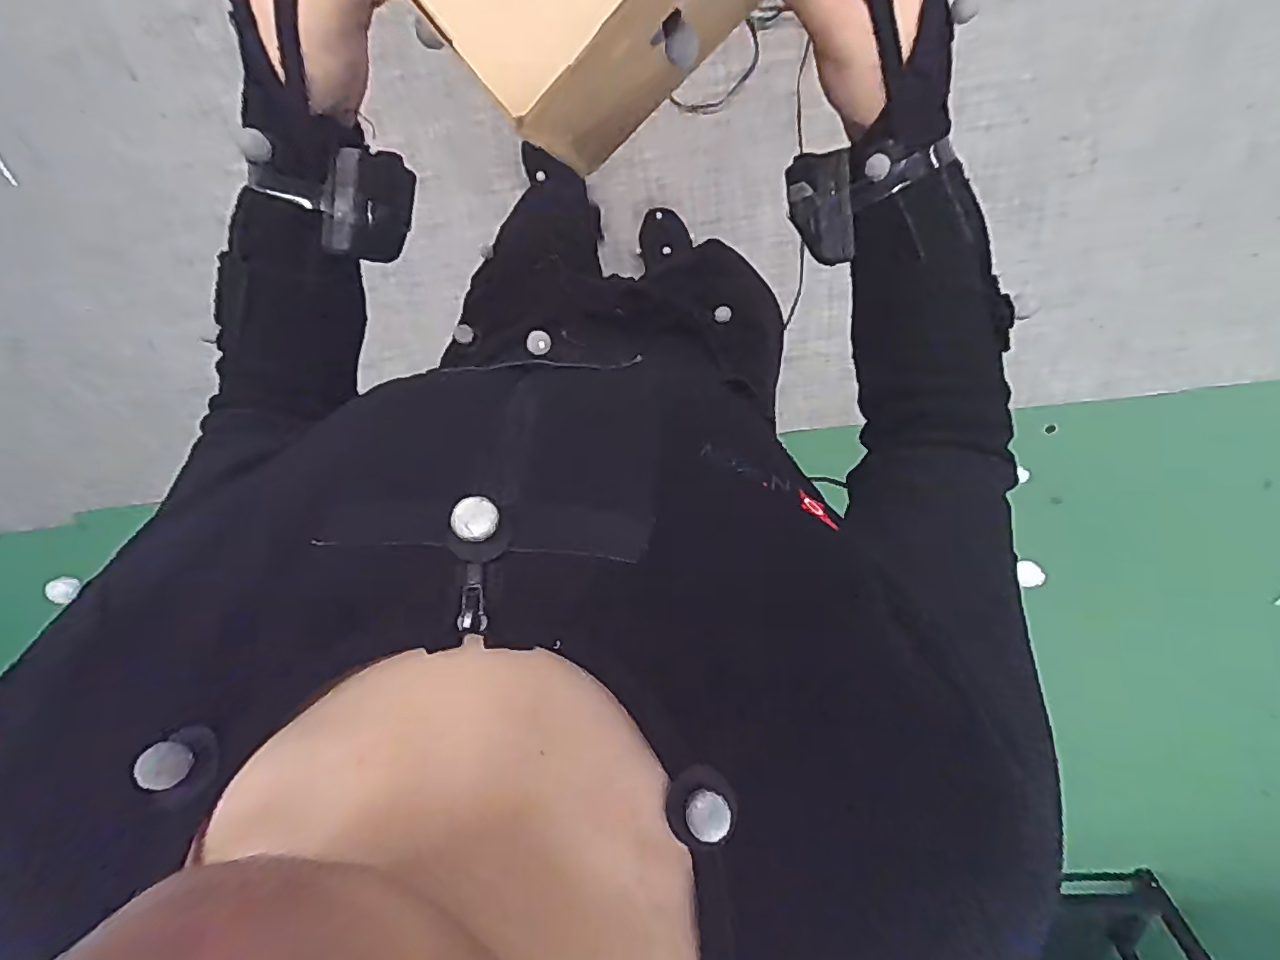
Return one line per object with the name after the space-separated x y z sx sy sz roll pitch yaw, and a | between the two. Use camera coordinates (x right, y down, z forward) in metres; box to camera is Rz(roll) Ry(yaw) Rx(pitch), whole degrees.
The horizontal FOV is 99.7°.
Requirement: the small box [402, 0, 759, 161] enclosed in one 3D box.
-0.028 -0.270 0.227 0.179 0.176 0.168 -36 106 19 | small box
